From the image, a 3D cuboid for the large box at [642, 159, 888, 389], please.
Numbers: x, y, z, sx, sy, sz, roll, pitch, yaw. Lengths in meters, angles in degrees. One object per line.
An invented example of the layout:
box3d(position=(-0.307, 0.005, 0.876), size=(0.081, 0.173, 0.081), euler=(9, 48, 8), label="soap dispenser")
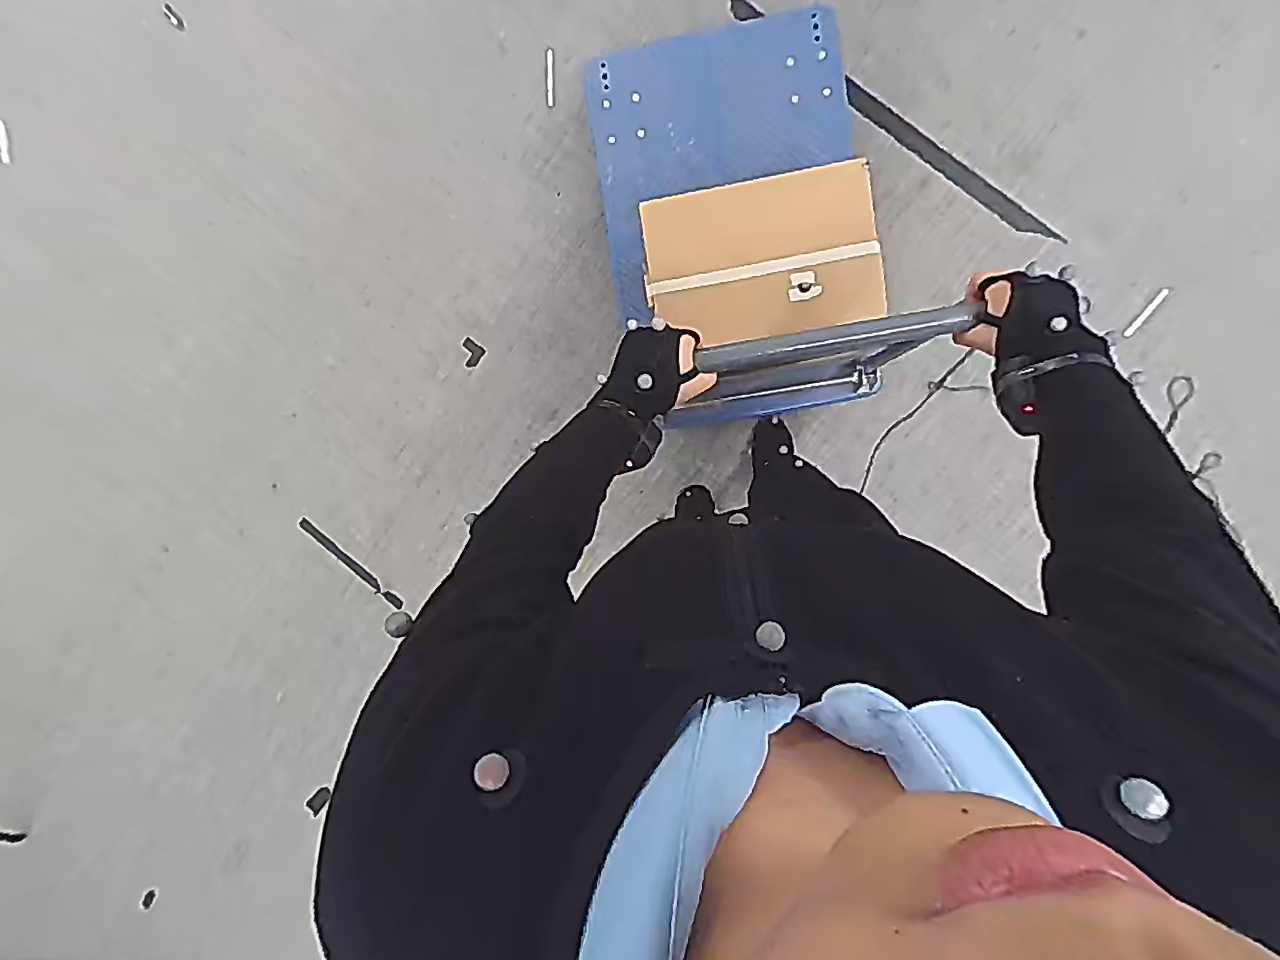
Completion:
box3d(position=(0.233, -0.389, 1.119), size=(0.408, 0.320, 0.320), euler=(-9, 94, 5), label="large box")
